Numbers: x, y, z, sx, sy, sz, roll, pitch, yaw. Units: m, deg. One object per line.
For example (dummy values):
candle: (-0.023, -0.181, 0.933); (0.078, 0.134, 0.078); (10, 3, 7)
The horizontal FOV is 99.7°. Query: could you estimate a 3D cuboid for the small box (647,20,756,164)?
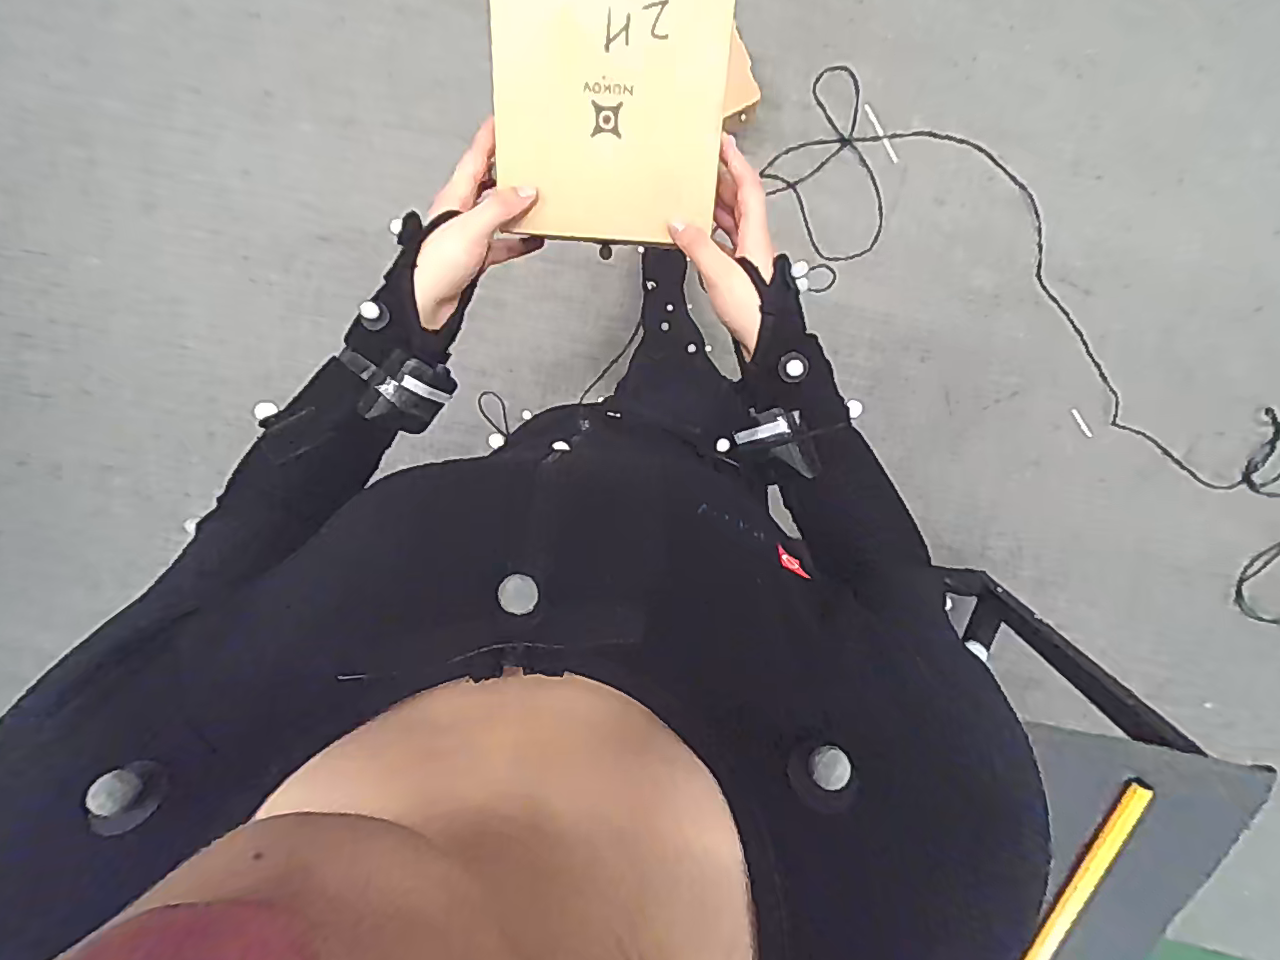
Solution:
small box: (0.130, -0.818, 1.163); (0.179, 0.176, 0.168); (-23, 104, 9)
